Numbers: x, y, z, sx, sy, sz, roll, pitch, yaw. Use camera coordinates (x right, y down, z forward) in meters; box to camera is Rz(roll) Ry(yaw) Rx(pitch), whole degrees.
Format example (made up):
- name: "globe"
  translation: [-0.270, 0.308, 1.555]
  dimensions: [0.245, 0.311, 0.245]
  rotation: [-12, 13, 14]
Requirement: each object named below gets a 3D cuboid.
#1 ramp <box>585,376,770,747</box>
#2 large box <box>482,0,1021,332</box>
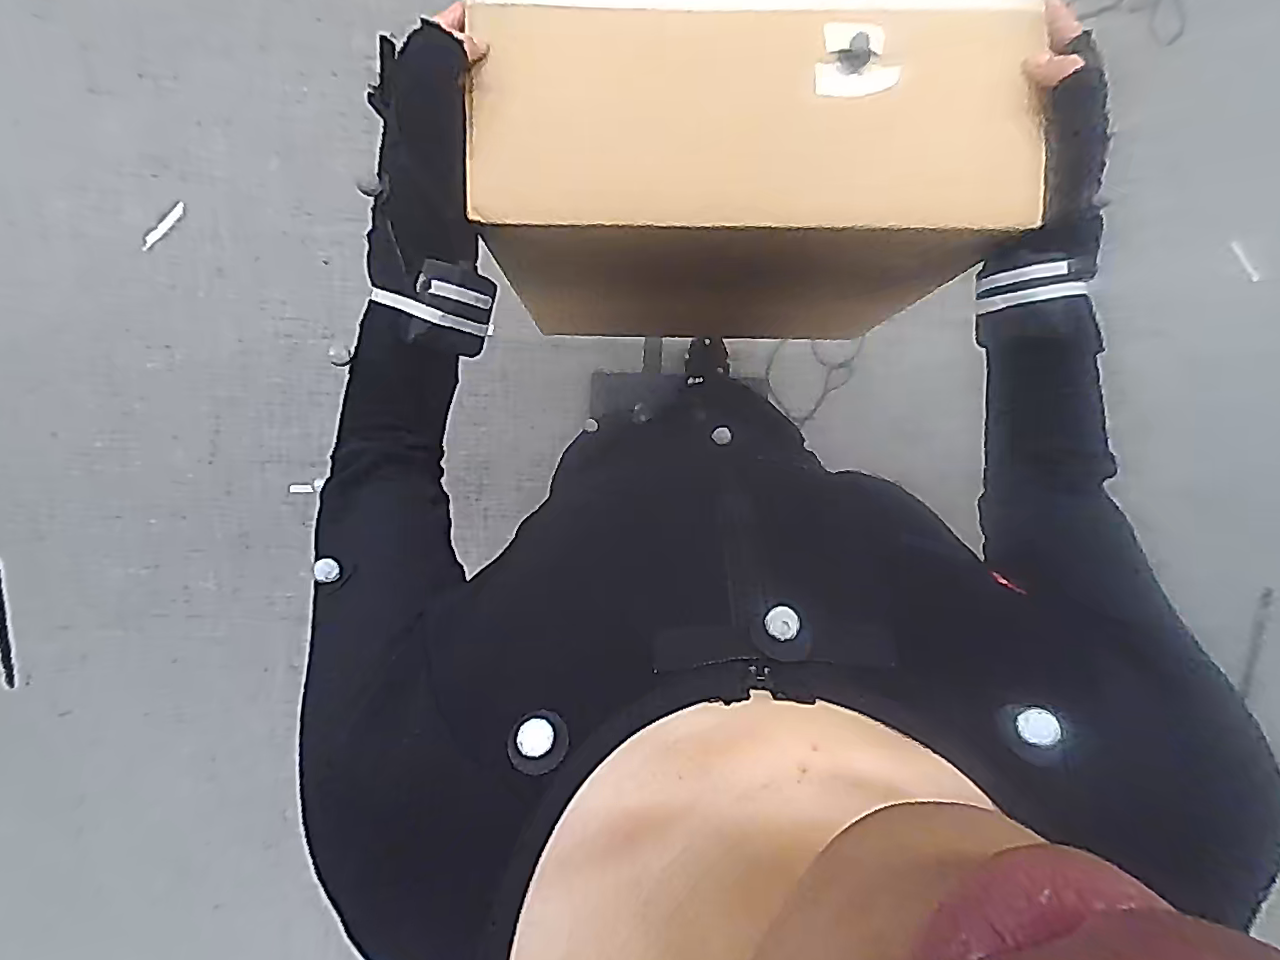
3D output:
- name: "ramp"
  translation: [0.105, 0.213, 1.480]
  dimensions: [0.509, 0.206, 0.991]
  rotation: [0, 97, 1]
- name: "large box"
  translation: [0.078, -0.345, 0.546]
  dimensions: [0.408, 0.320, 0.320]
  rotation: [0, 90, -1]
